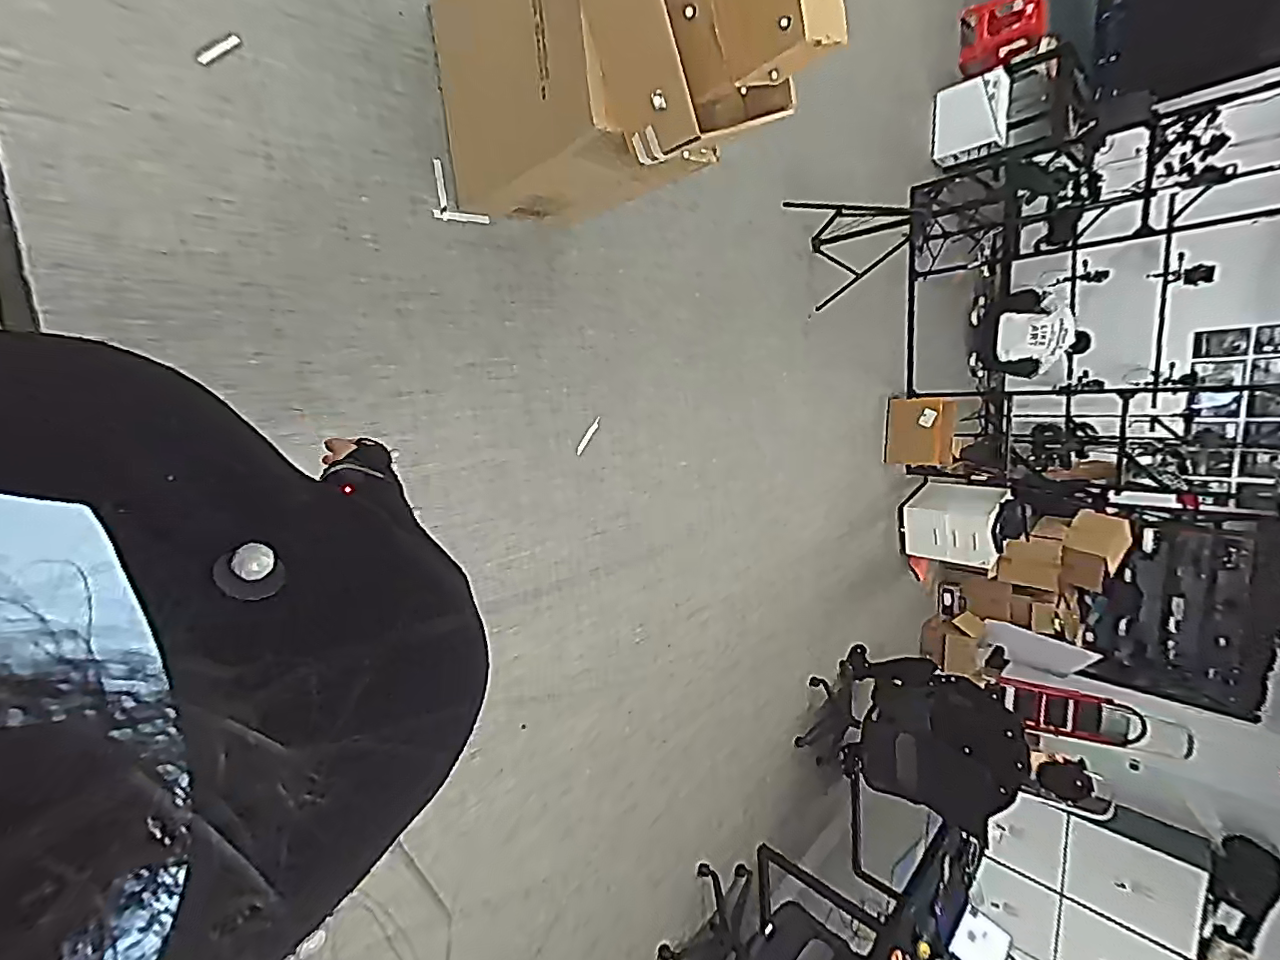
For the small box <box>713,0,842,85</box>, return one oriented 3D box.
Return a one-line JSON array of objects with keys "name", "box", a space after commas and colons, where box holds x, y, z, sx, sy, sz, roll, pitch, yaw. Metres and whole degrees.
[{"name": "small box", "box": [0.258, -0.890, 1.028, 0.168, 0.176, 0.179, -34, 116, -36]}]
